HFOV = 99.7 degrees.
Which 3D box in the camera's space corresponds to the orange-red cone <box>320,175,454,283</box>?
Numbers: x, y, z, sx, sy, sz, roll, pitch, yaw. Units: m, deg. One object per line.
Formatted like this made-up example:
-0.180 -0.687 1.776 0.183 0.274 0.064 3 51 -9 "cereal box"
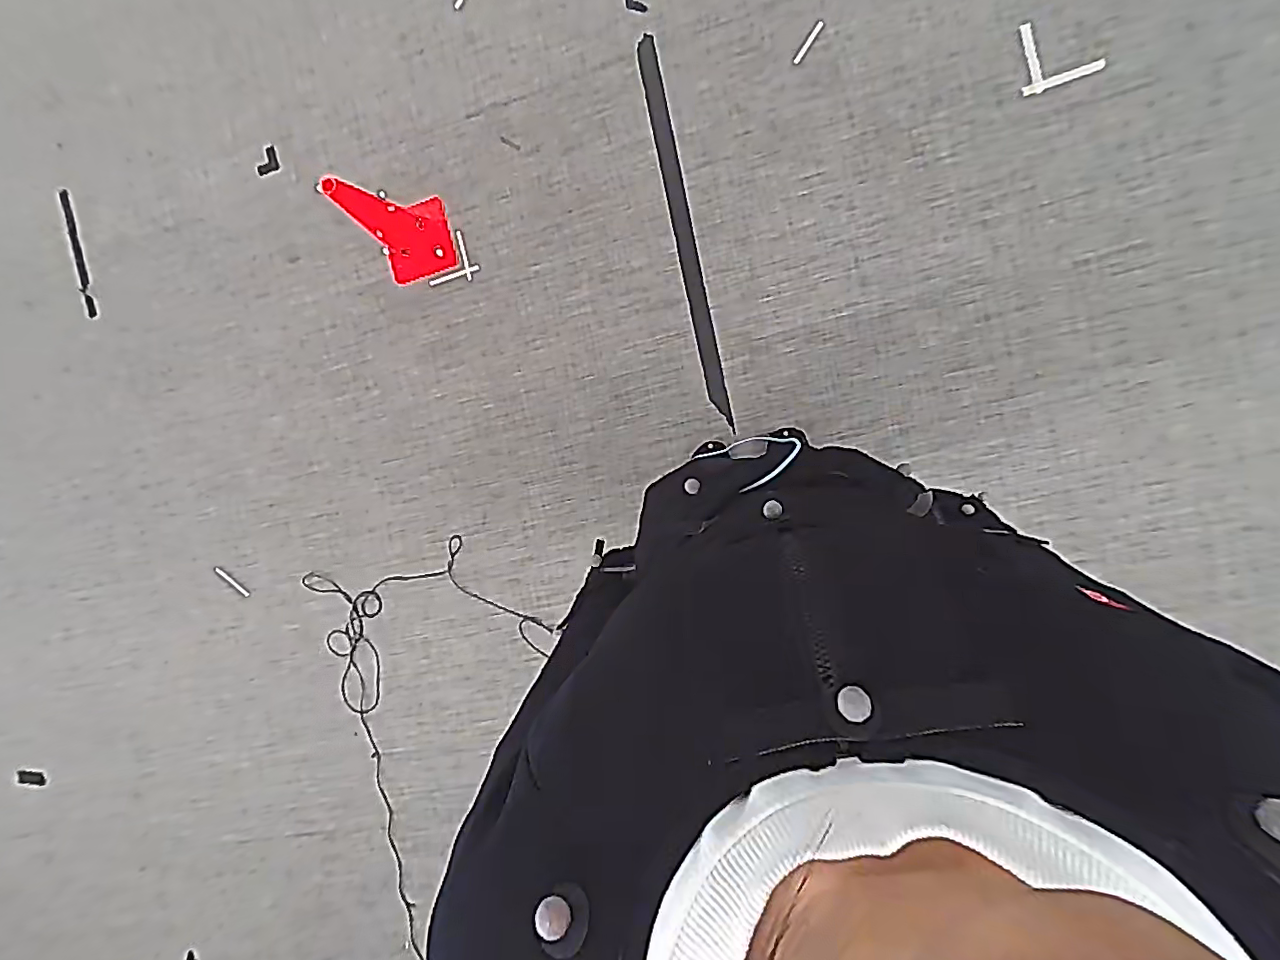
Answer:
-0.648 -0.653 1.337 0.198 0.360 0.199 -13 91 9 "orange-red cone"
